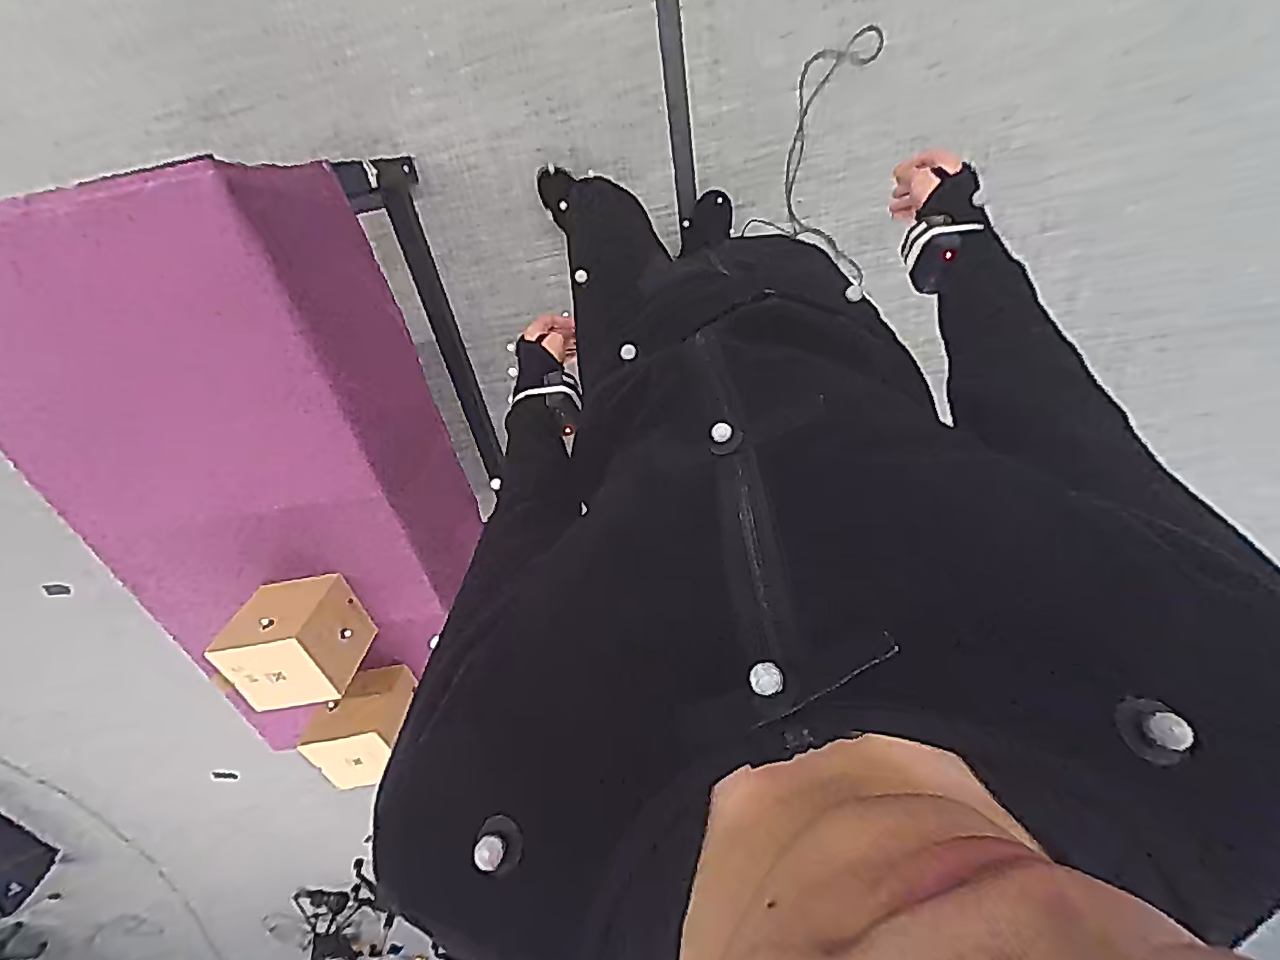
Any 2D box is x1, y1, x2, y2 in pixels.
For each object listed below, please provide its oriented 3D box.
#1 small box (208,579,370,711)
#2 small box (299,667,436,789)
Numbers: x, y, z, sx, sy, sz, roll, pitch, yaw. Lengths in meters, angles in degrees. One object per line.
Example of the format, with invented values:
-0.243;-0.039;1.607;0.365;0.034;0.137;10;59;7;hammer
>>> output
-0.647;0.308;1.031;0.179;0.176;0.168;-10;121;6;small box
-0.577;0.534;1.171;0.179;0.176;0.168;-12;121;7;small box
